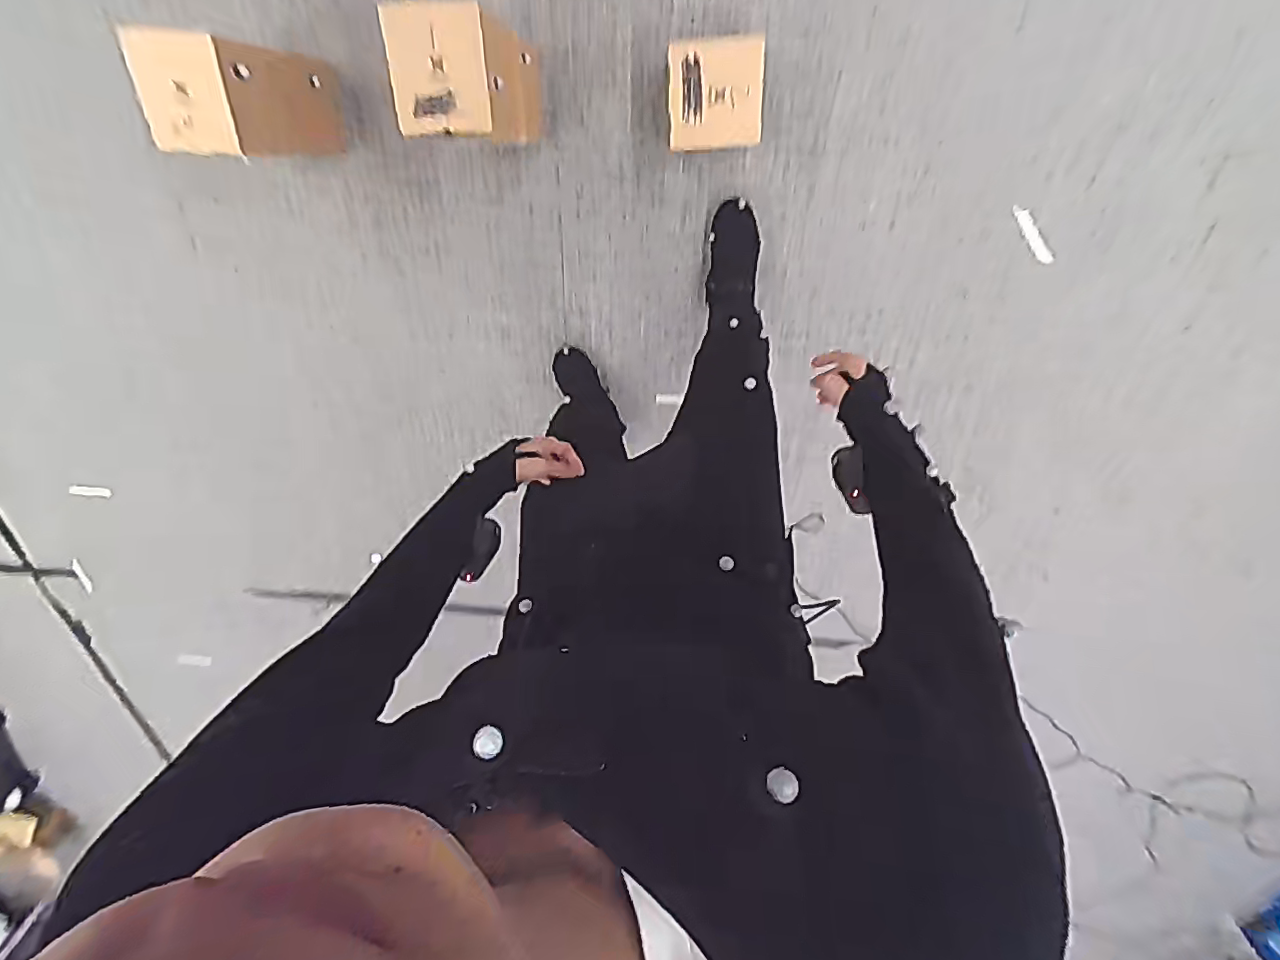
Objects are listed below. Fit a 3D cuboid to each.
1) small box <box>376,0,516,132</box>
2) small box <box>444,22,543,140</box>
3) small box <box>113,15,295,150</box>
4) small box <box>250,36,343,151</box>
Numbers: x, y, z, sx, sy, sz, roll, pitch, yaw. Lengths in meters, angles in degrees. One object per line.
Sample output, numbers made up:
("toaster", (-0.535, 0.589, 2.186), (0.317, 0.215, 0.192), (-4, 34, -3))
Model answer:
("small box", (-0.324, -0.715, 0.944), (0.168, 0.176, 0.179), (2, 118, 4))
("small box", (-0.300, -0.790, 1.089), (0.168, 0.176, 0.179), (2, 119, 4))
("small box", (-0.776, -0.713, 0.986), (0.168, 0.176, 0.179), (6, 121, 3))
("small box", (-0.755, -0.797, 1.125), (0.168, 0.176, 0.179), (6, 120, 3))
